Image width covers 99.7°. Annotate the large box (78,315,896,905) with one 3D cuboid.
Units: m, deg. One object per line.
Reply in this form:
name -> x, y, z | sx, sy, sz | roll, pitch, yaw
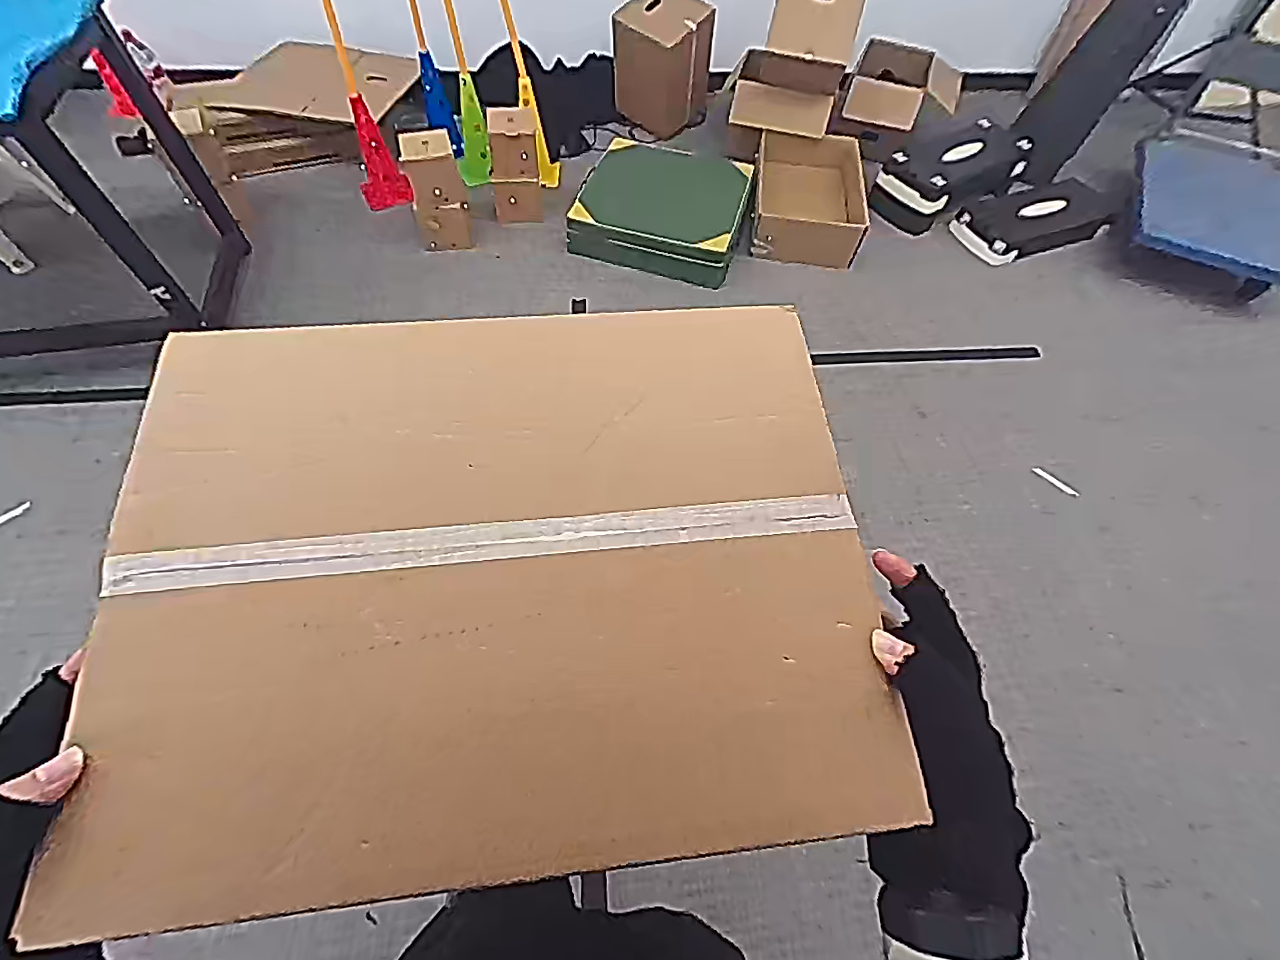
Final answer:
large box -> -0.087, 0.094, 0.456 | 0.408, 0.320, 0.320 | -4, 68, -5
